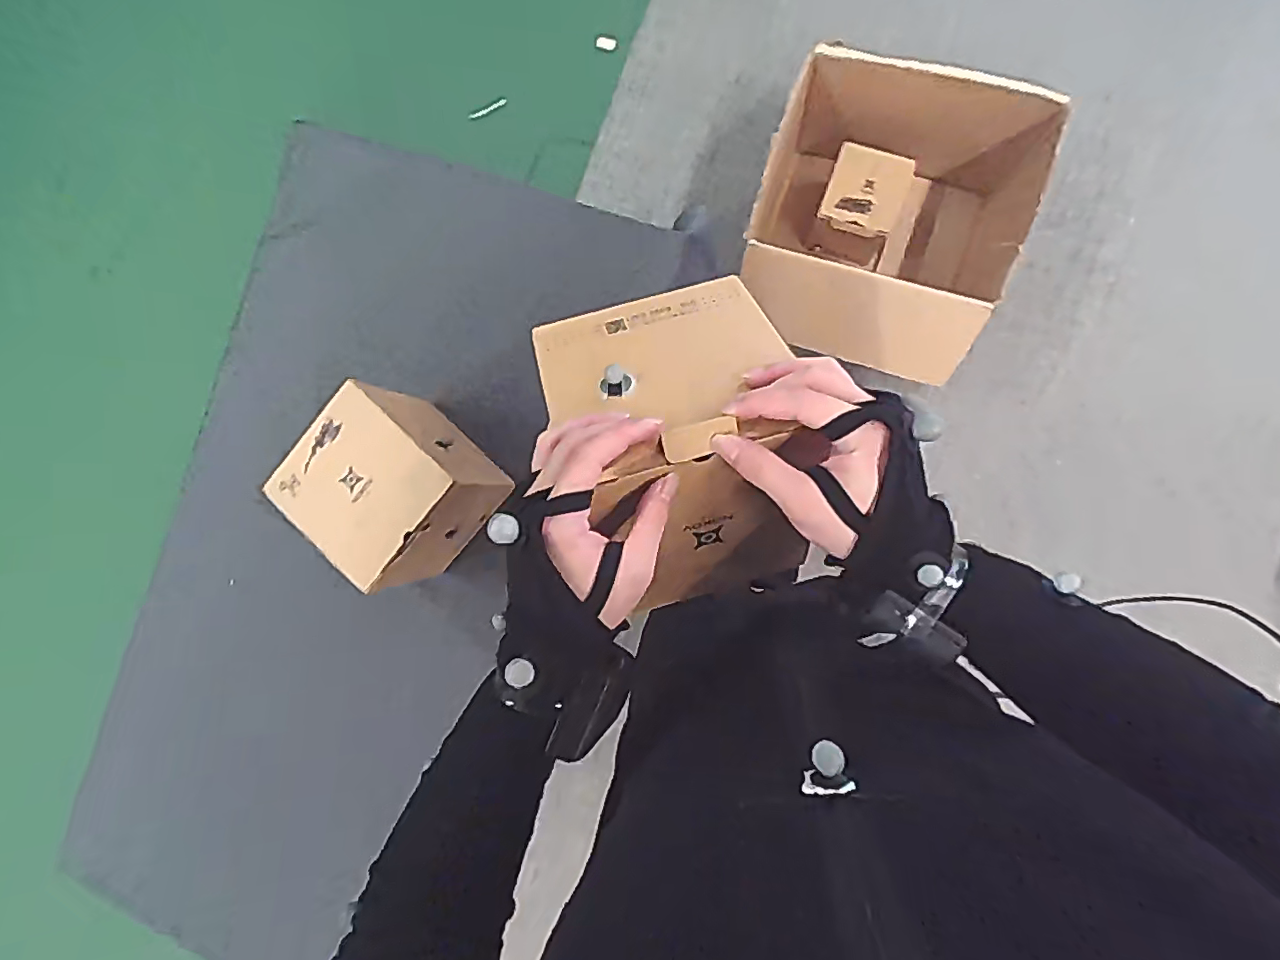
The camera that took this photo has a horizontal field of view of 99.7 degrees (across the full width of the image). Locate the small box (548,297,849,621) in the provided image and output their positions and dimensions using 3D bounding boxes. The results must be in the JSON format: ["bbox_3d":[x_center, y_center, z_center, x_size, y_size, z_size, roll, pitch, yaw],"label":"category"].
[{"bbox_3d":[0.033,-0.021,0.422,0.168,0.179,0.176,-14,51,-4],"label":"small box"}]

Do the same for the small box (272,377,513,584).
[{"bbox_3d":[-0.292,-0.001,0.677,0.179,0.176,0.168,42,95,8],"label":"small box"}]
